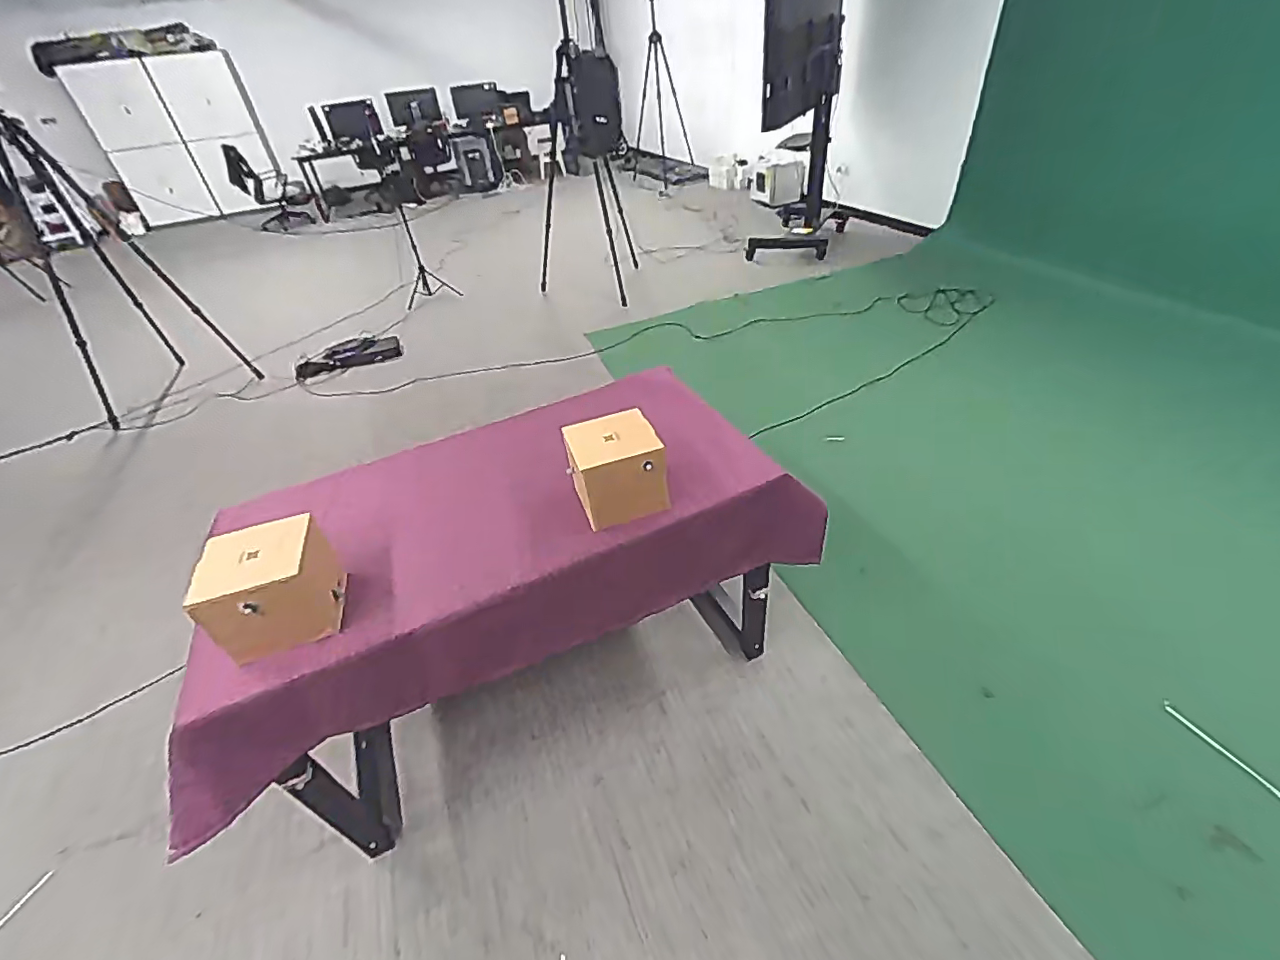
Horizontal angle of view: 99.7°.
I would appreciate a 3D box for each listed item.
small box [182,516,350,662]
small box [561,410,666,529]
[{"bbox_3d":[-0.657,0.199,0.976,0.179,0.176,0.168,-16,40,-11],"label":"small box"},{"bbox_3d":[-0.054,-0.020,1.149,0.179,0.176,0.168,-16,40,-12],"label":"small box"}]
